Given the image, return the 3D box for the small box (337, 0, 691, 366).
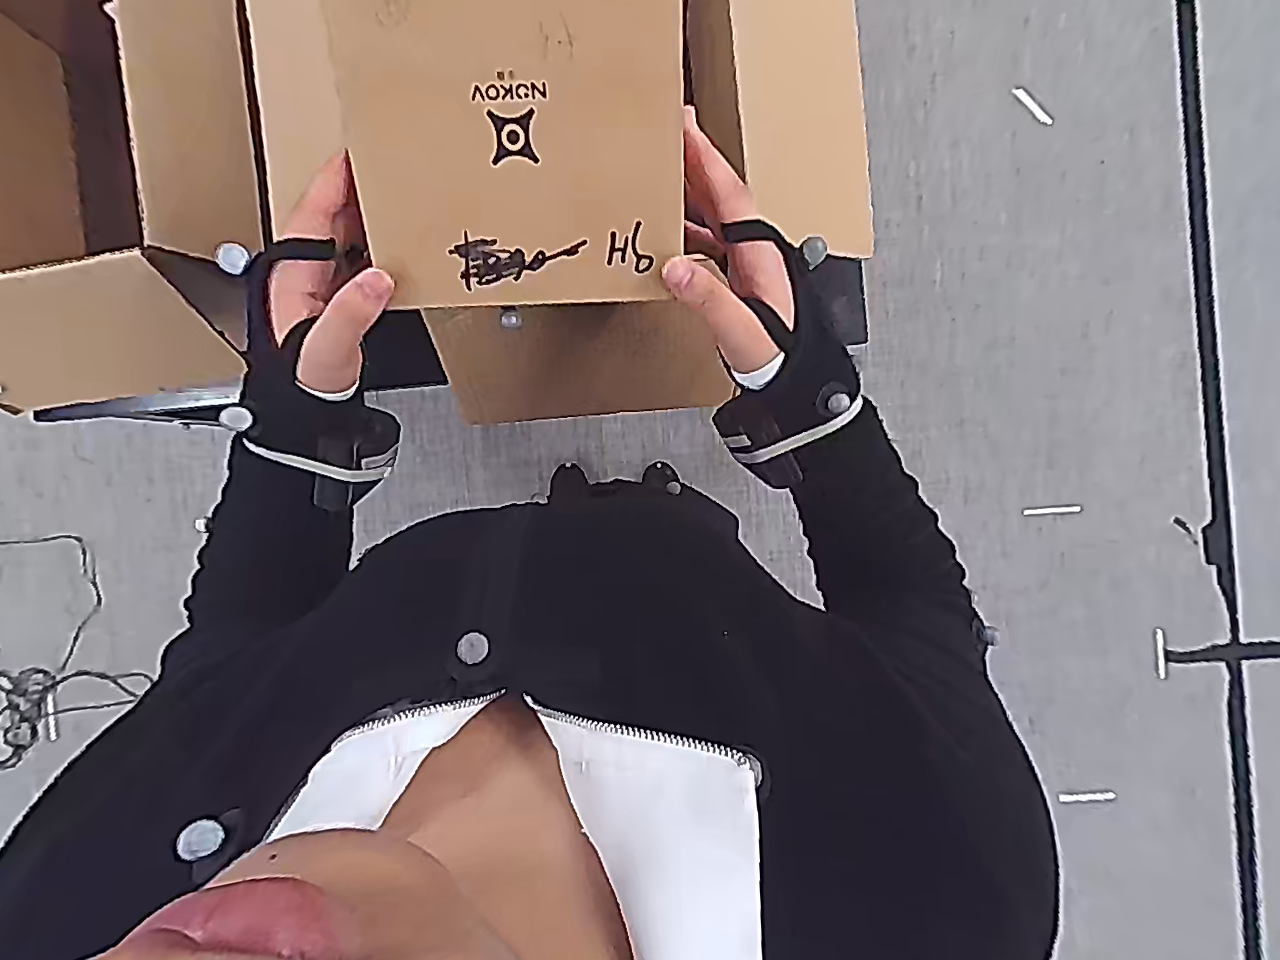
[{"bbox_3d":[-0.058,-0.174,0.350,0.168,0.176,0.179,-1,111,0],"label":"small box"}]
